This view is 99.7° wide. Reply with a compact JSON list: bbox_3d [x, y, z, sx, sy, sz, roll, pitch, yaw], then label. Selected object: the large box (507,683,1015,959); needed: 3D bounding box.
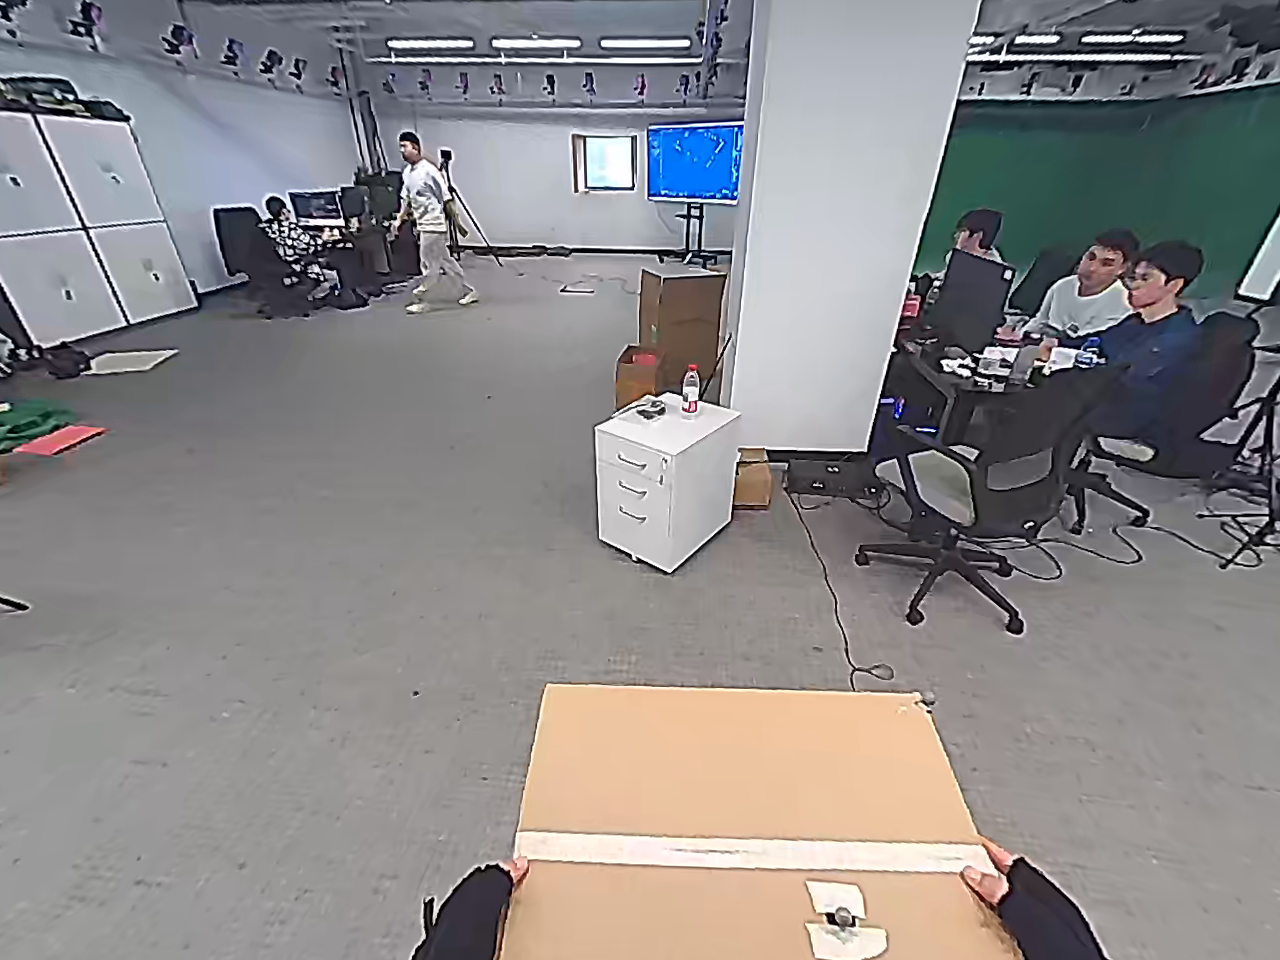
[{"bbox_3d":[0.095,0.442,0.572,0.408,0.320,0.320,1,38,2],"label":"large box"}]
